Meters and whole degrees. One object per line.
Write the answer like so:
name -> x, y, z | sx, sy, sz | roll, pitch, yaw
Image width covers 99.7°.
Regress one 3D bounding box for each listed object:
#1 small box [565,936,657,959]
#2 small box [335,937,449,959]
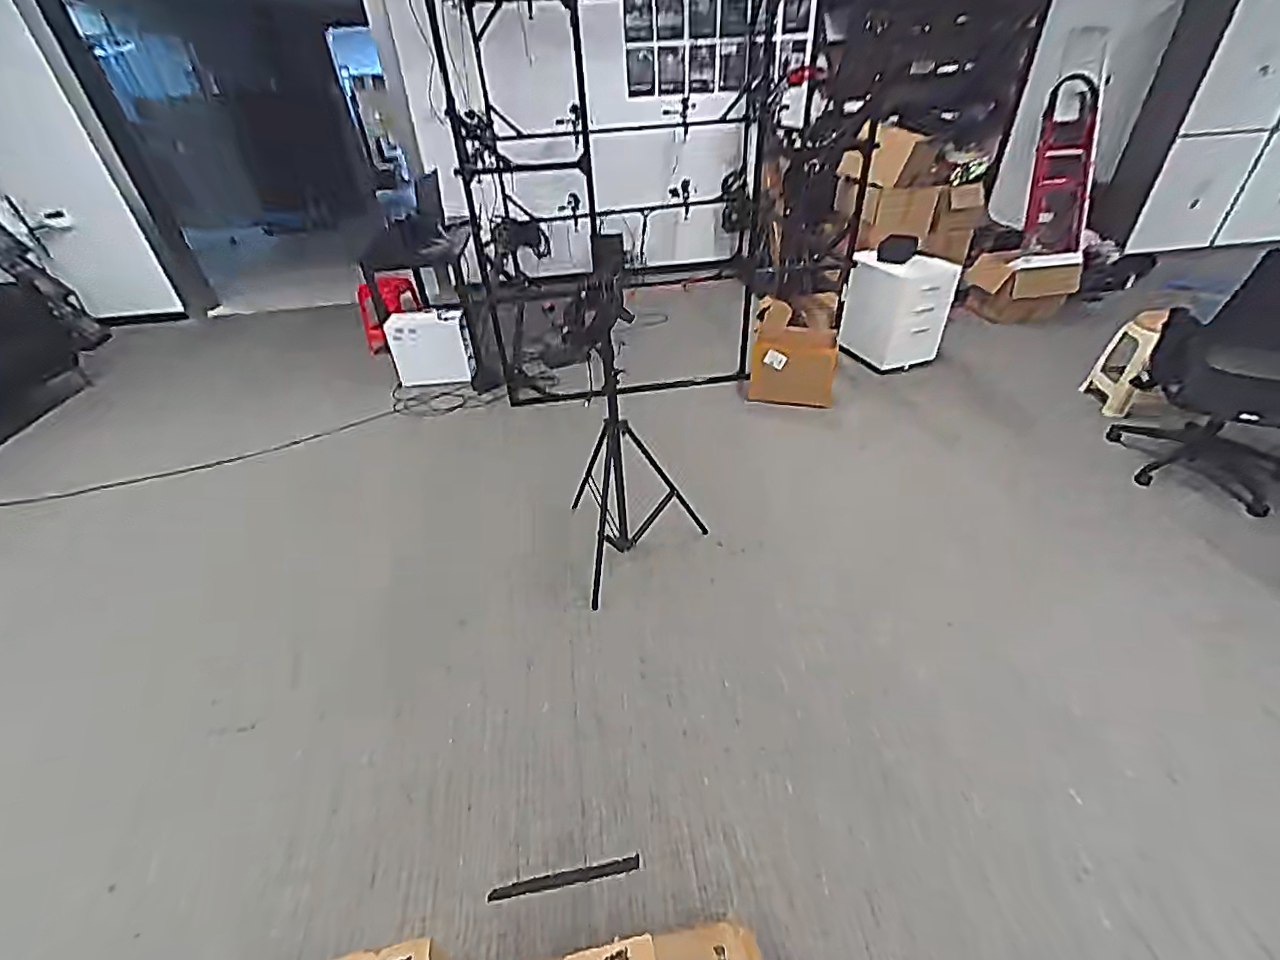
small box -> -0.036, 0.964, 0.967 | 0.168, 0.176, 0.179 | -10, 37, -6
small box -> -0.392, 0.866, 0.846 | 0.168, 0.176, 0.179 | -8, 36, -8
